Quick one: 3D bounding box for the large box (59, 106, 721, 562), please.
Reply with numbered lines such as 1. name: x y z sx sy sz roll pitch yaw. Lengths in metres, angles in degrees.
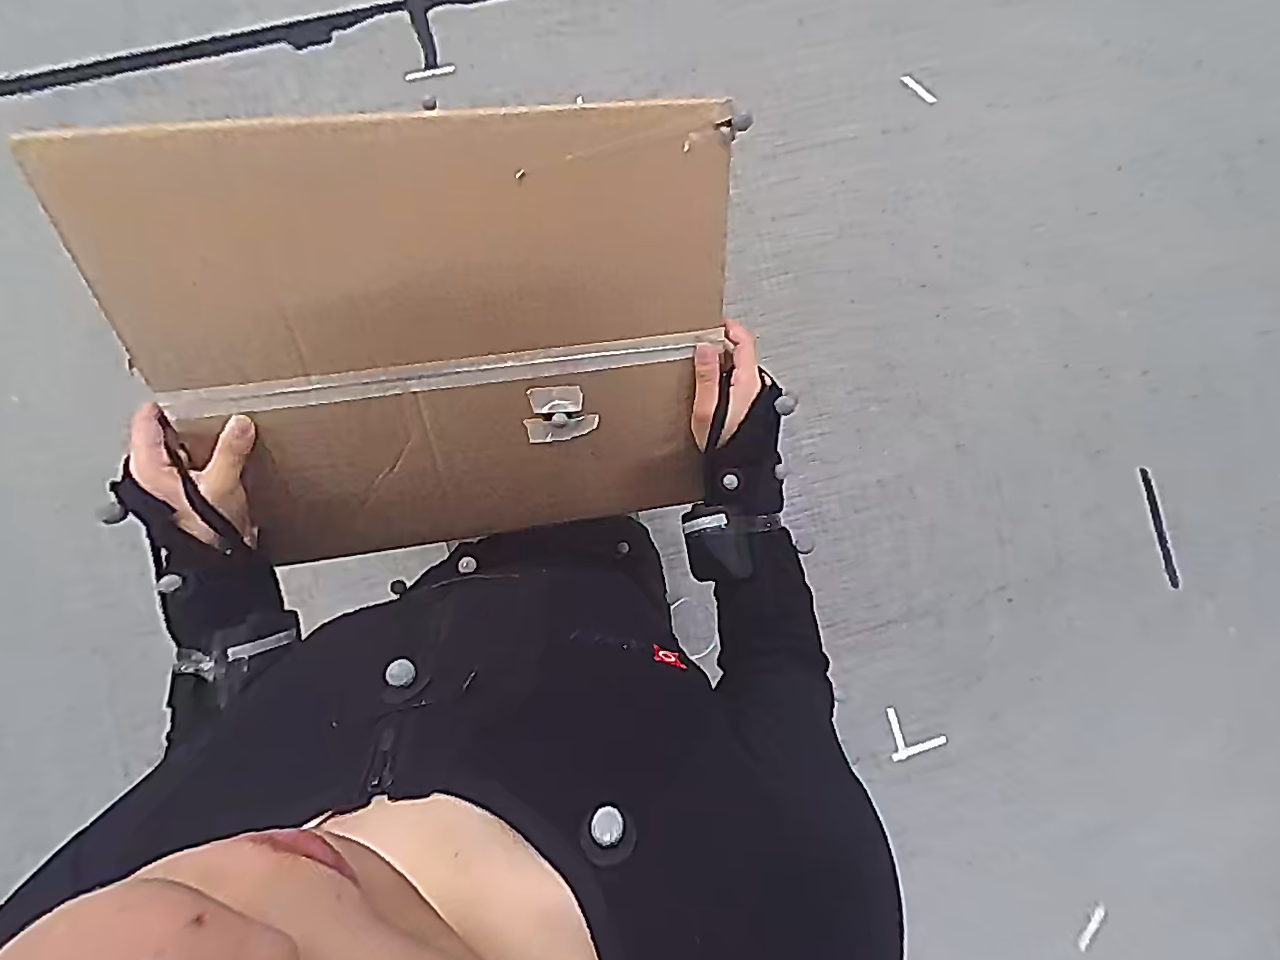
1. large box: -0.163 -0.166 0.536 0.408 0.320 0.320 -10 125 -9
